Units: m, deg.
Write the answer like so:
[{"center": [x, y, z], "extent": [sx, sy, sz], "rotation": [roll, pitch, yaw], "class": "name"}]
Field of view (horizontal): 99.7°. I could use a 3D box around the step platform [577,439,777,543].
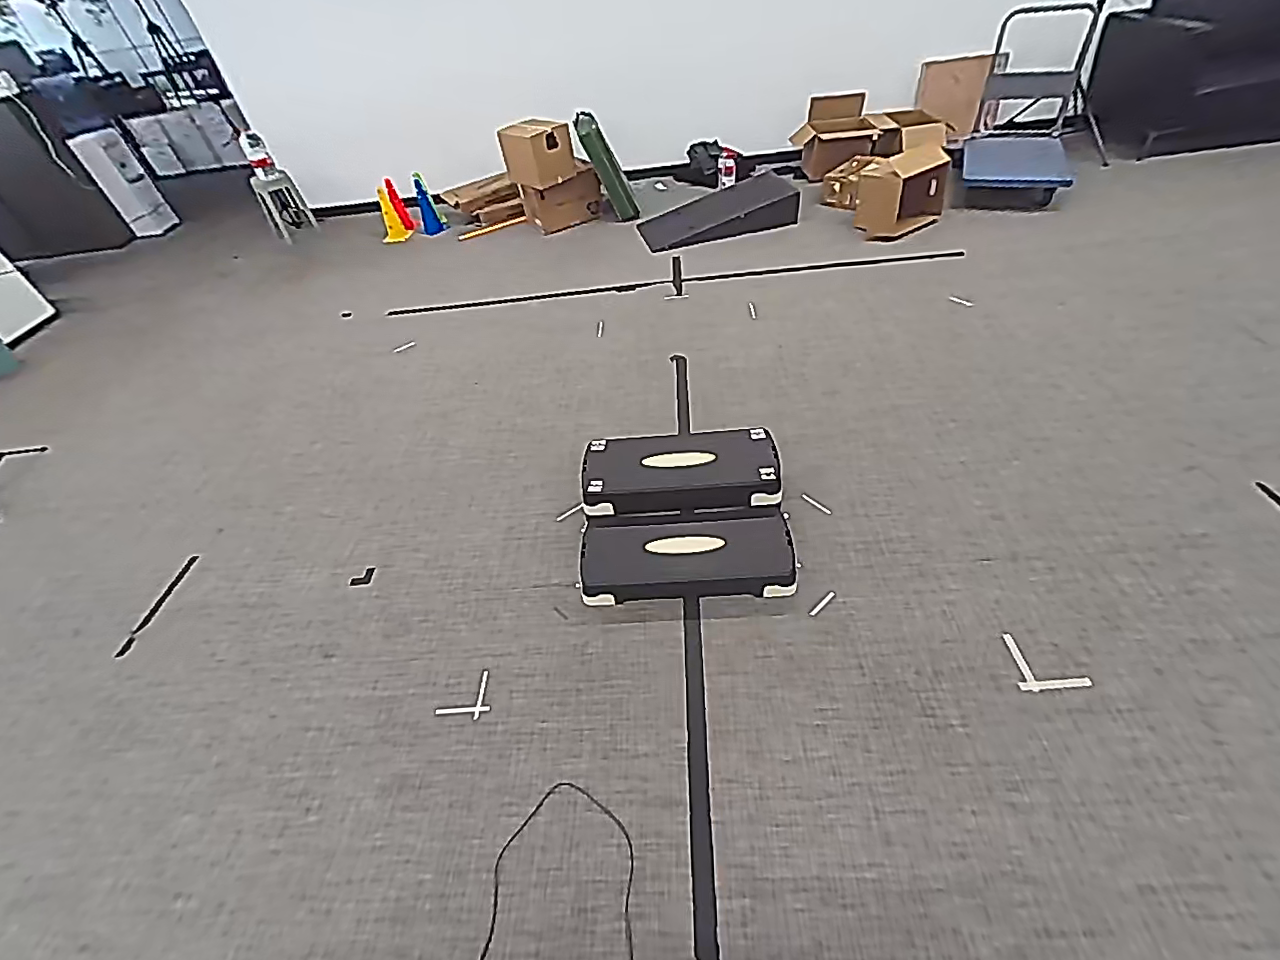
[{"center": [0.123, 0.033, 1.883], "extent": [0.684, 0.204, 0.286], "rotation": [-4, 45, 4], "class": "step platform"}]
